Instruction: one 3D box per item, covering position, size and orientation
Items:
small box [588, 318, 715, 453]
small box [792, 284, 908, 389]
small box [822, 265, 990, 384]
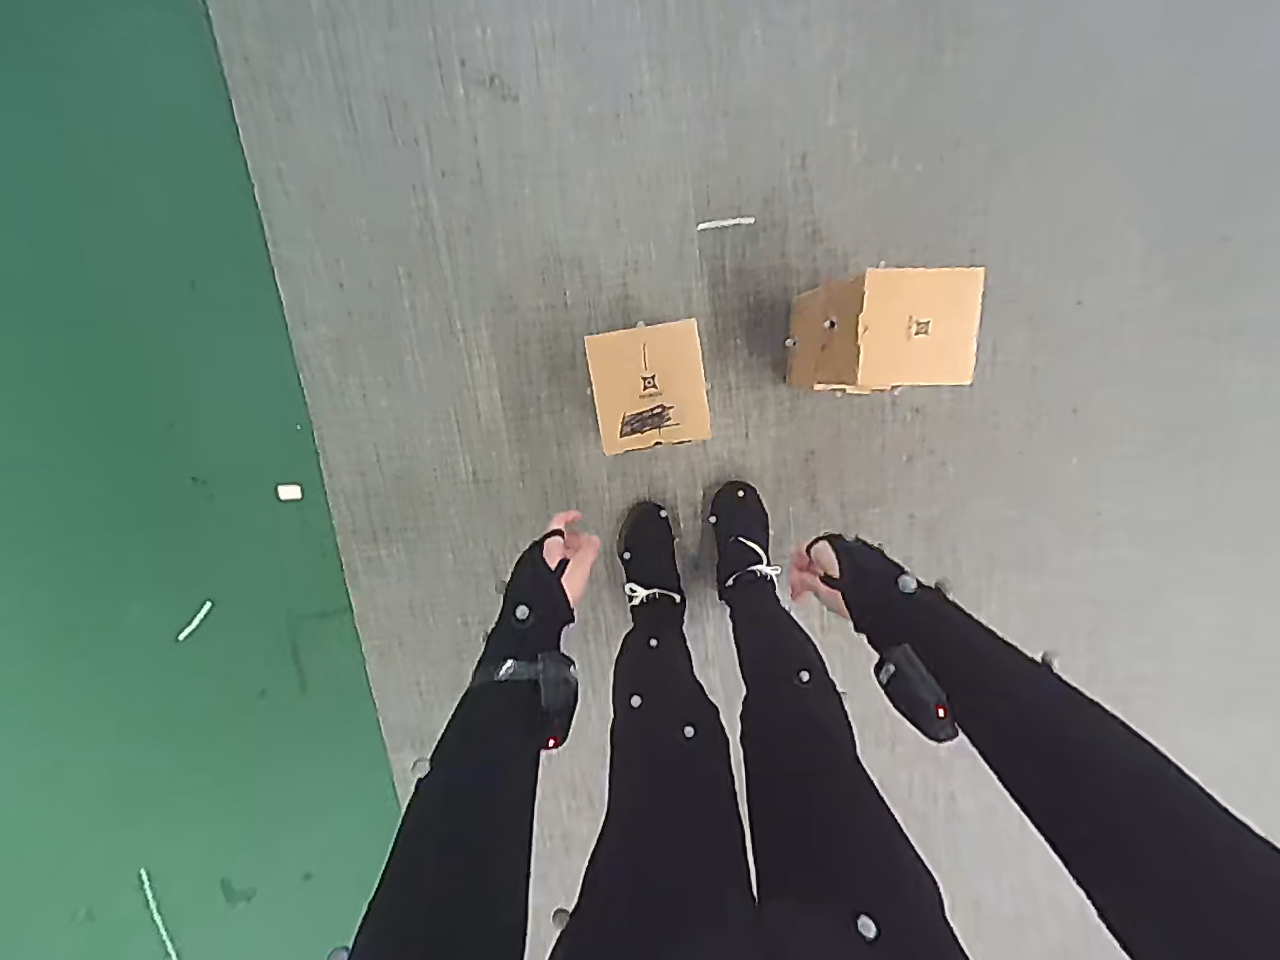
[{"bbox_3d":[0.018,-0.152,0.862,0.168,0.176,0.179,-10,101,1],"label":"small box"},{"bbox_3d":[0.392,-0.267,1.012,0.168,0.176,0.179,0,103,-2],"label":"small box"},{"bbox_3d":[0.405,-0.240,0.852,0.179,0.176,0.168,-1,102,0],"label":"small box"}]
